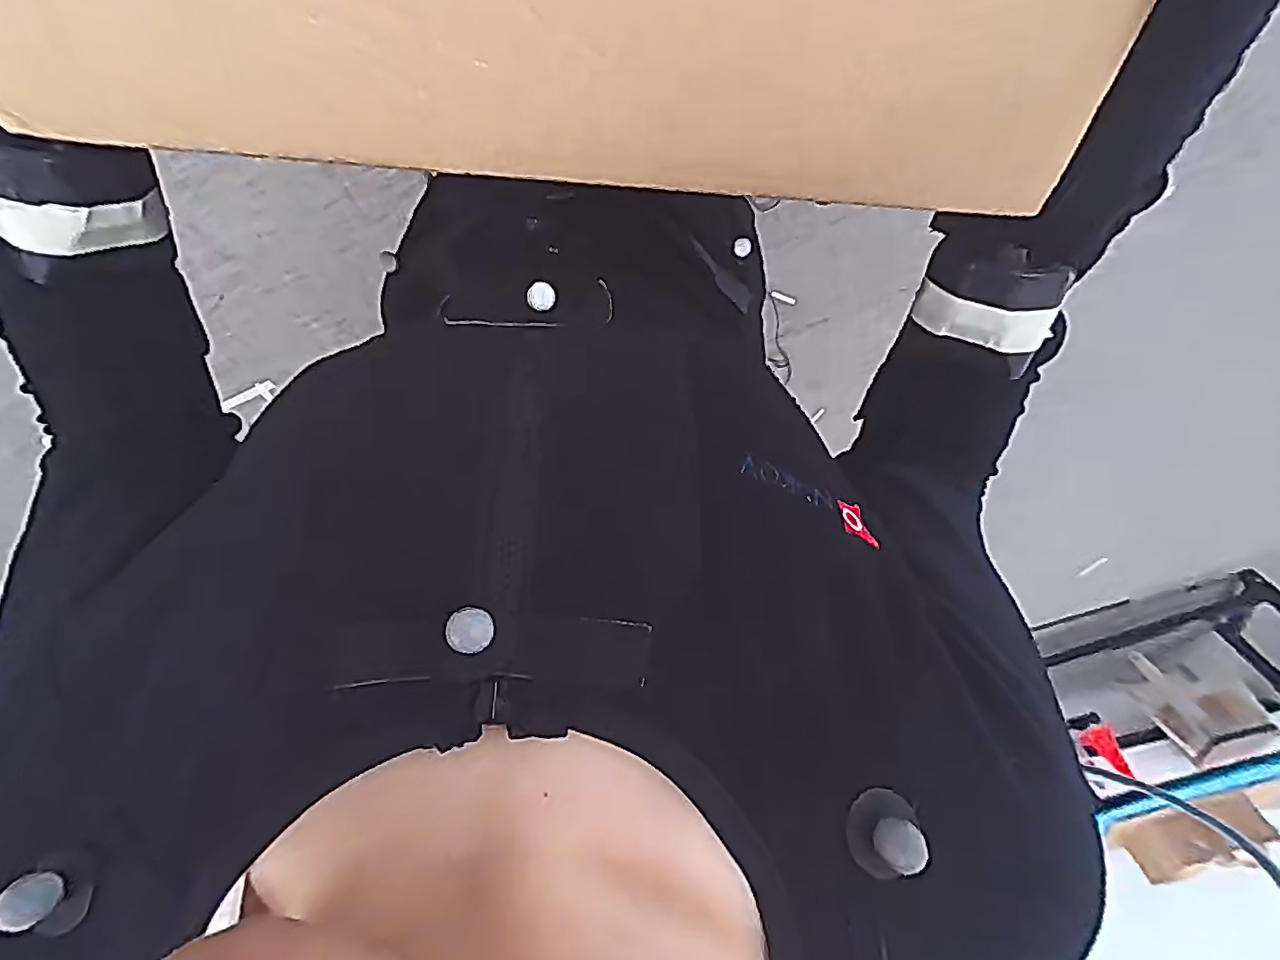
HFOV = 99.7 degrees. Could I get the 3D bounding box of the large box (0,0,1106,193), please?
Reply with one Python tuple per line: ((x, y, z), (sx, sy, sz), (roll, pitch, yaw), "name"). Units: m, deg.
((-0.027, -0.344, 0.222), (0.408, 0.320, 0.320), (3, 134, -3), "large box")
